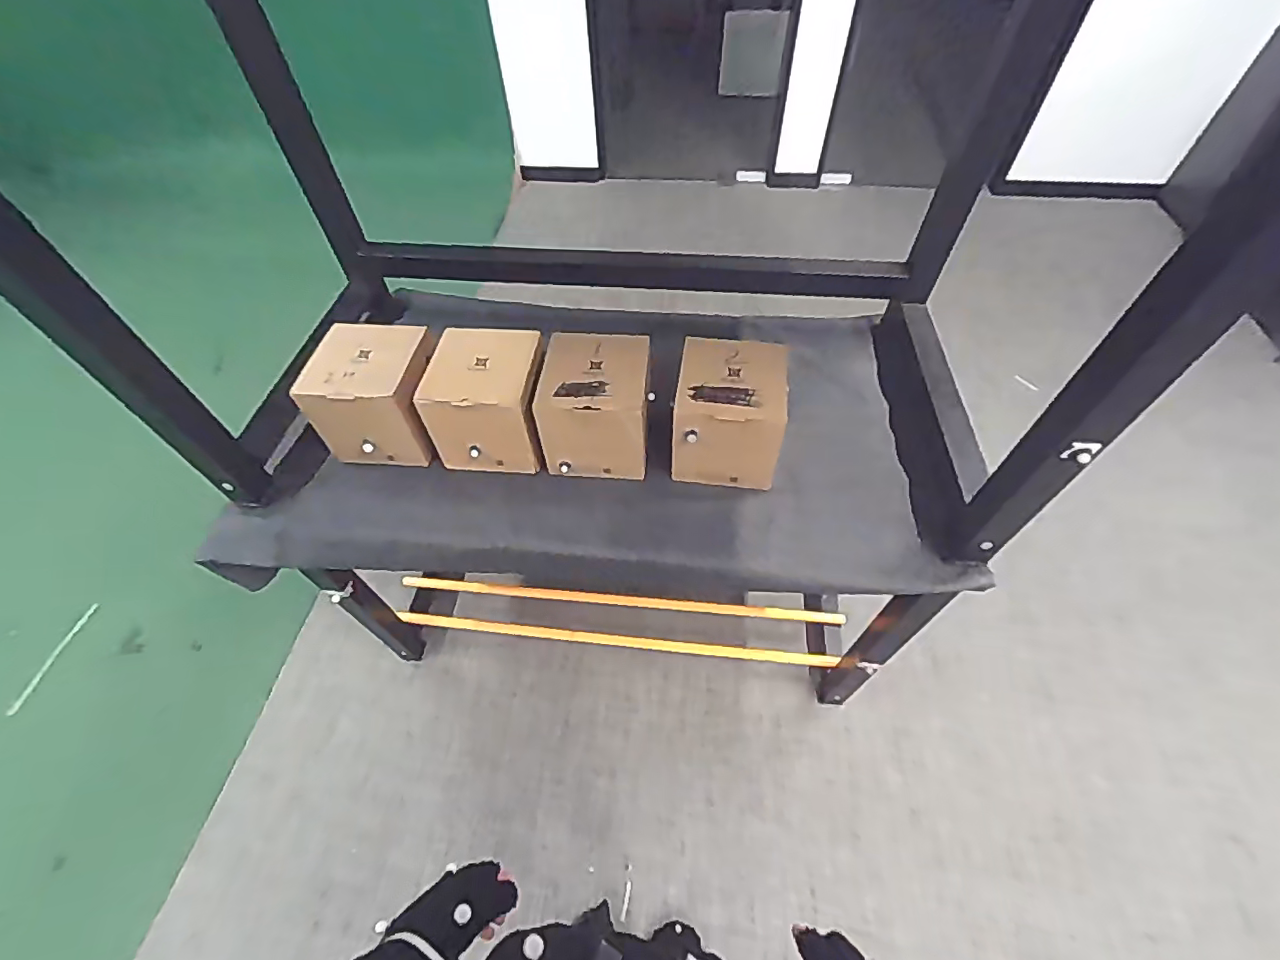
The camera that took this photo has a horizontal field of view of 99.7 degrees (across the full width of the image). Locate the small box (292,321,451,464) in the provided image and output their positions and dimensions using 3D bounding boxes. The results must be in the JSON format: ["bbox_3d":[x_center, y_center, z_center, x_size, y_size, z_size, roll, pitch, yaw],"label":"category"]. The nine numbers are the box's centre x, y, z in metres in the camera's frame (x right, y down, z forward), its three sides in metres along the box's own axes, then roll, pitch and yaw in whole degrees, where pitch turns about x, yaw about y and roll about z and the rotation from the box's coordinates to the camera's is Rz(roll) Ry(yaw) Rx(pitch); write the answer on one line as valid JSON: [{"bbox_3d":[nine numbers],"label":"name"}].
[{"bbox_3d":[-0.444,-0.150,0.932,0.168,0.176,0.179,2,53,4],"label":"small box"}]
